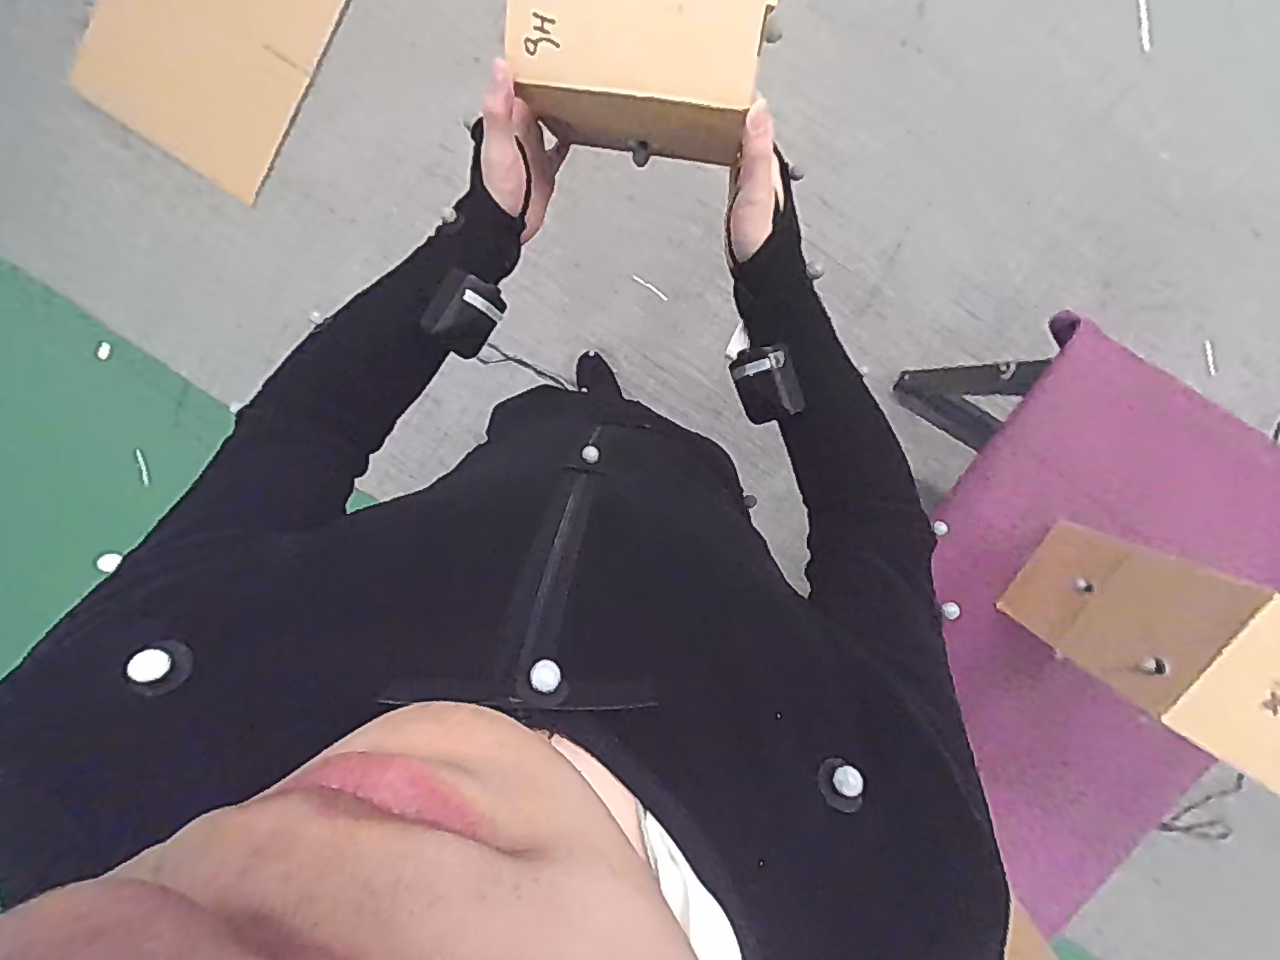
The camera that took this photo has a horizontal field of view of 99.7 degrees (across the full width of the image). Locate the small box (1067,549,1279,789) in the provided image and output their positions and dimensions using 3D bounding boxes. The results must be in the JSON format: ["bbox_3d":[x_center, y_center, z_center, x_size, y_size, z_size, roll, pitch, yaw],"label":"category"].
[{"bbox_3d":[0.673,0.212,0.650,0.168,0.176,0.179,32,99,-2],"label":"small box"}]

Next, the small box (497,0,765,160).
[{"bbox_3d":[0.003,-0.367,0.422,0.179,0.176,0.168,8,109,2],"label":"small box"}]

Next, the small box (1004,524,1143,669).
[{"bbox_3d":[0.696,0.191,0.813,0.168,0.176,0.179,30,99,-1],"label":"small box"}]
